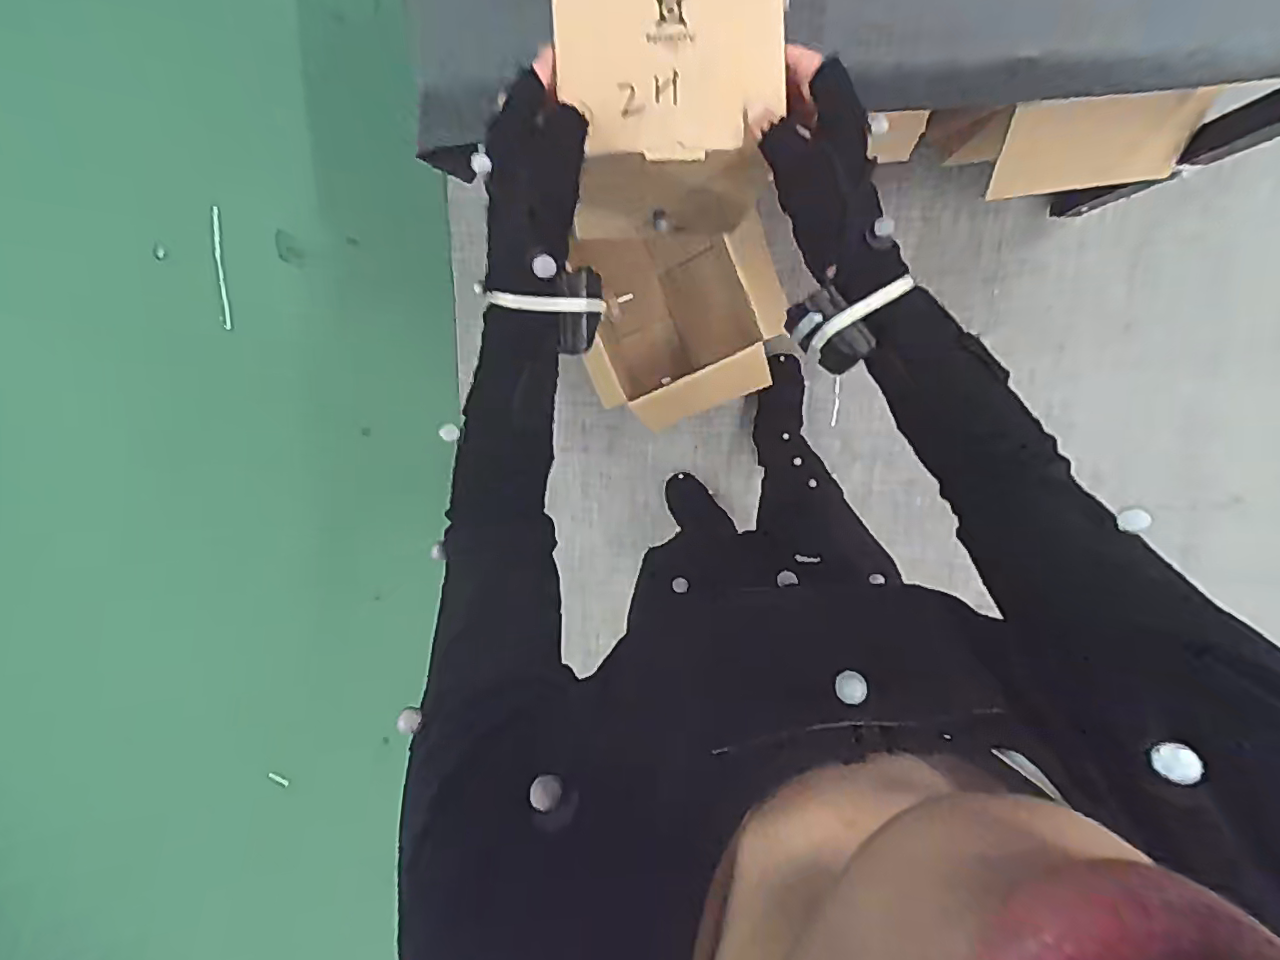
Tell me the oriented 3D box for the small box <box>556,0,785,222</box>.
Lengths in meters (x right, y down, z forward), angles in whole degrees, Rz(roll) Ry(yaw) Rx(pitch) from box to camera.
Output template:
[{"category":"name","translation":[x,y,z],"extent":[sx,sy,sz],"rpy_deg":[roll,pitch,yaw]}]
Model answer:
[{"category":"small box","translation":[0.018,-0.342,0.461],"extent":[0.168,0.176,0.179],"rpy_deg":[-3,96,-2]}]
